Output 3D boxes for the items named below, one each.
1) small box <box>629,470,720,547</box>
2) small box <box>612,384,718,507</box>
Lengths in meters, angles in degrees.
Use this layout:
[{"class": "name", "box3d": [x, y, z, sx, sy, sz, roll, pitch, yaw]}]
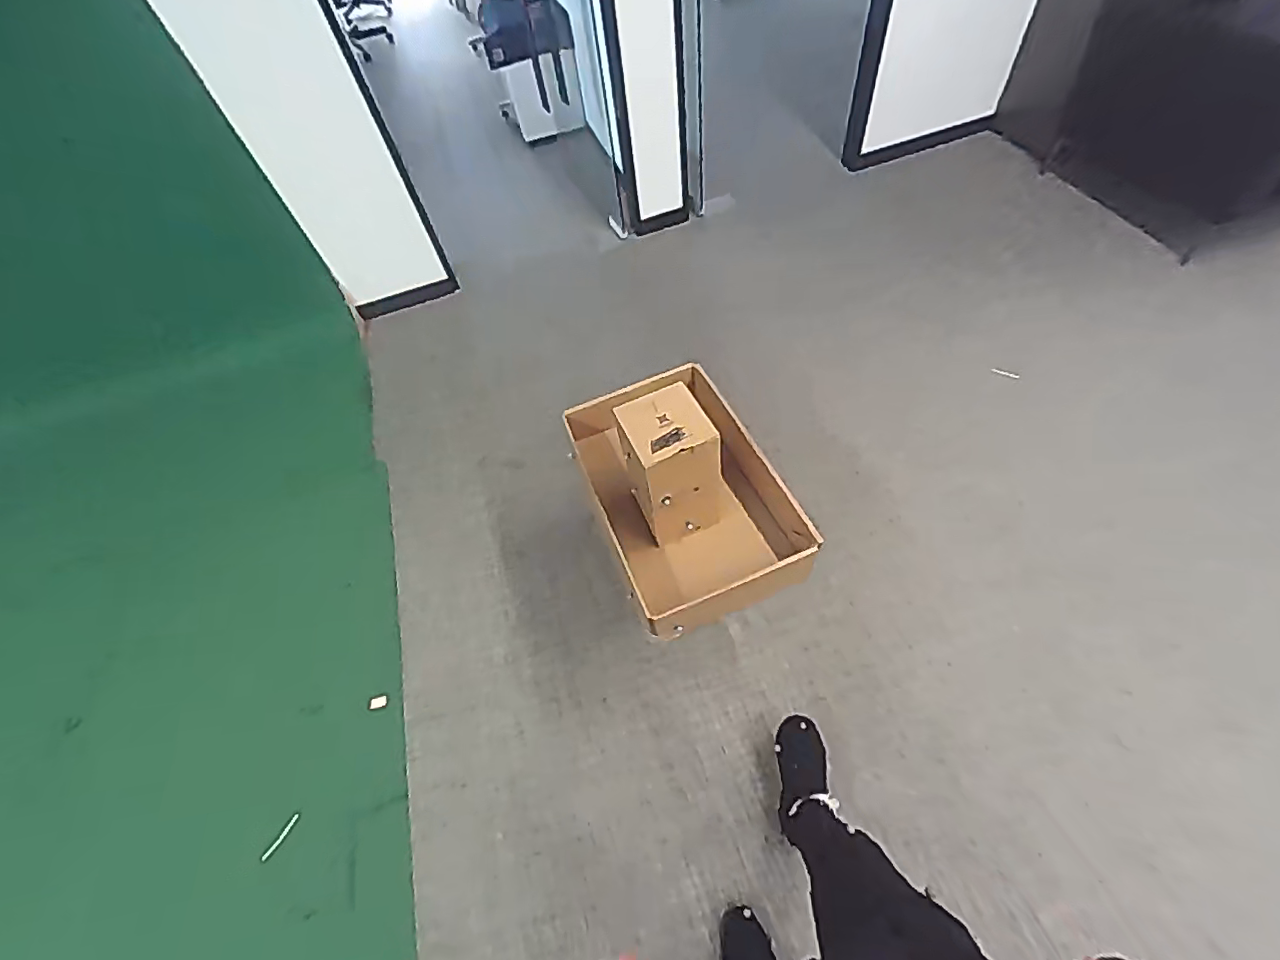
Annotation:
[{"class": "small box", "box3d": [0.078, 0.028, 1.284, 0.168, 0.176, 0.179, -21, 55, -6]}, {"class": "small box", "box3d": [0.058, -0.065, 1.150, 0.168, 0.176, 0.179, -23, 54, -8]}]
